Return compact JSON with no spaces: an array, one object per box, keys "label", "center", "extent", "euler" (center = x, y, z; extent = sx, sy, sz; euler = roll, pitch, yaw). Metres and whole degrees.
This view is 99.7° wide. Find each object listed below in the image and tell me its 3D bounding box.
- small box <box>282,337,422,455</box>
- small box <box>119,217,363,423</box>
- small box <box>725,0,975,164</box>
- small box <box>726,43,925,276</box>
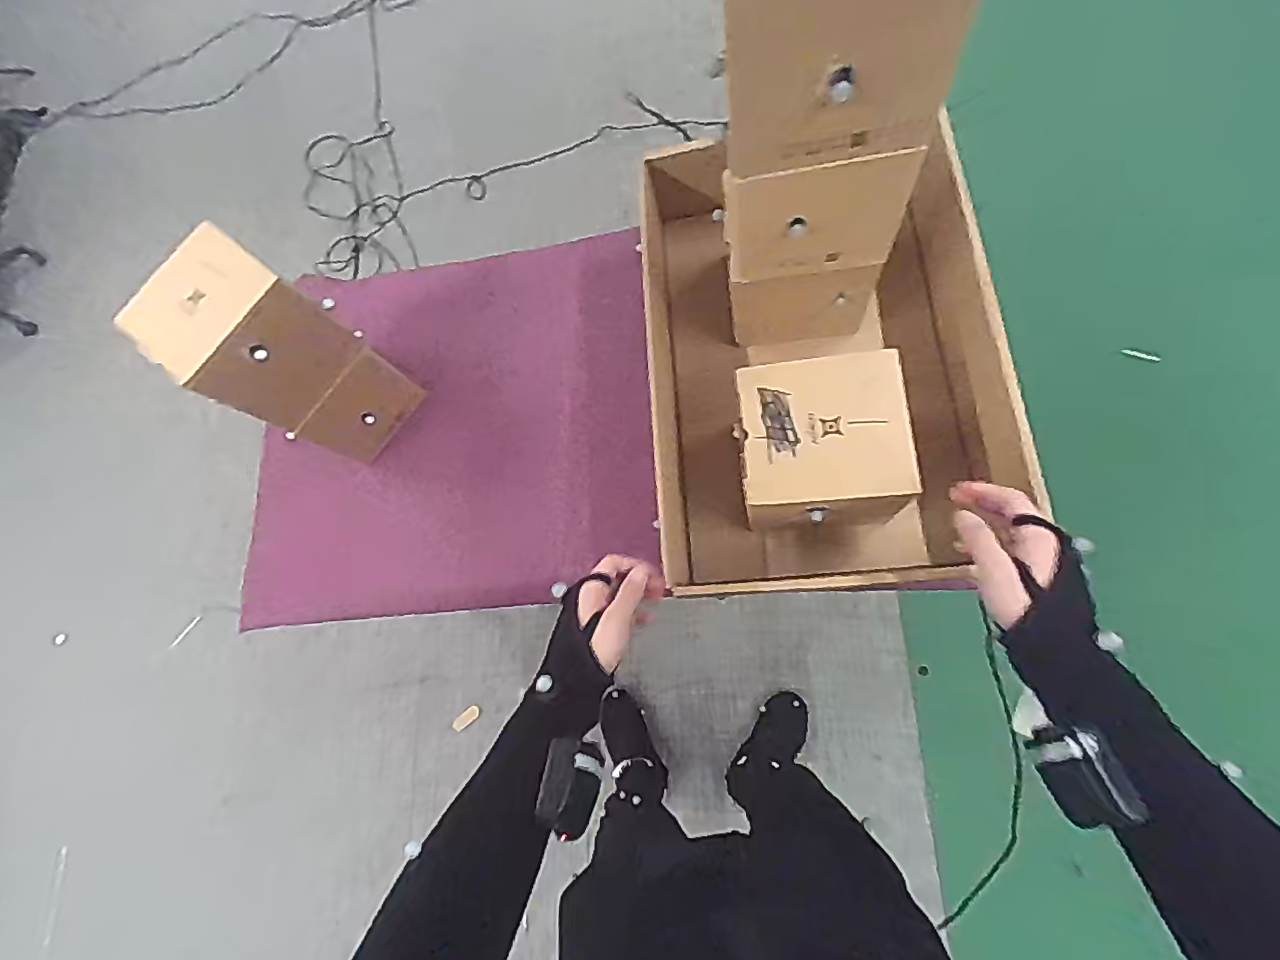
[{"label":"small box","center":[-0.503,-0.160,0.894],"extent":[0.179,0.176,0.168],"euler":[37,84,18]},{"label":"small box","center":[-0.529,-0.205,0.739],"extent":[0.168,0.176,0.179],"euler":[37,85,16]},{"label":"small box","center":[0.150,-0.378,0.418],"extent":[0.168,0.176,0.179],"euler":[-4,77,11]},{"label":"small box","center":[0.183,-0.337,0.574],"extent":[0.168,0.176,0.179],"euler":[-4,76,12]}]
